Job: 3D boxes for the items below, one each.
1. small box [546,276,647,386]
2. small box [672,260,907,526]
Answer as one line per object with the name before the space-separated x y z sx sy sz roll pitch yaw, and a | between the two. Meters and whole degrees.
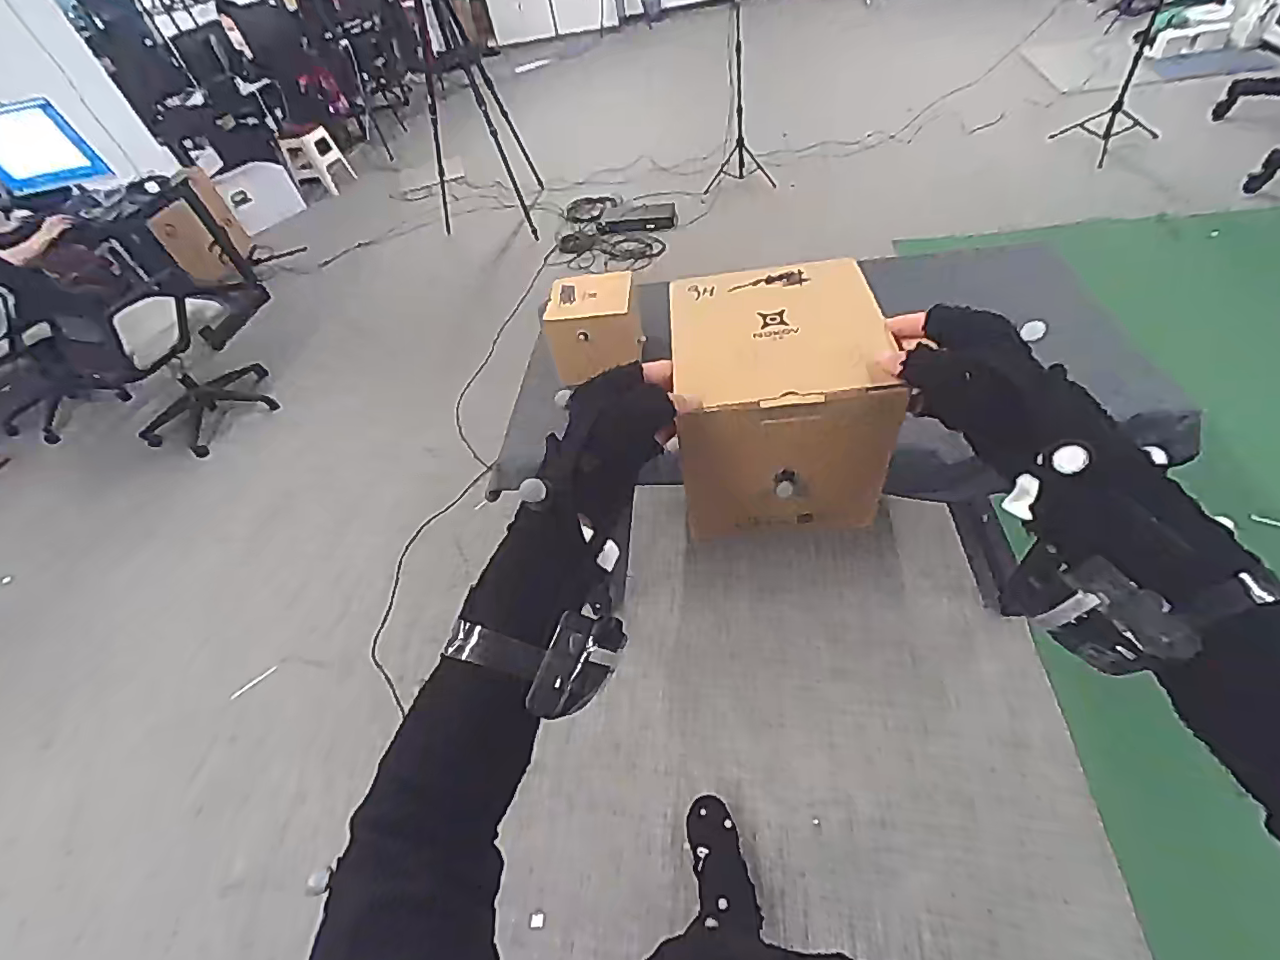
small box | -0.086 -0.319 1.179 0.179 0.176 0.168 -3 49 8
small box | 0.121 -0.069 0.496 0.168 0.176 0.179 -5 51 7
